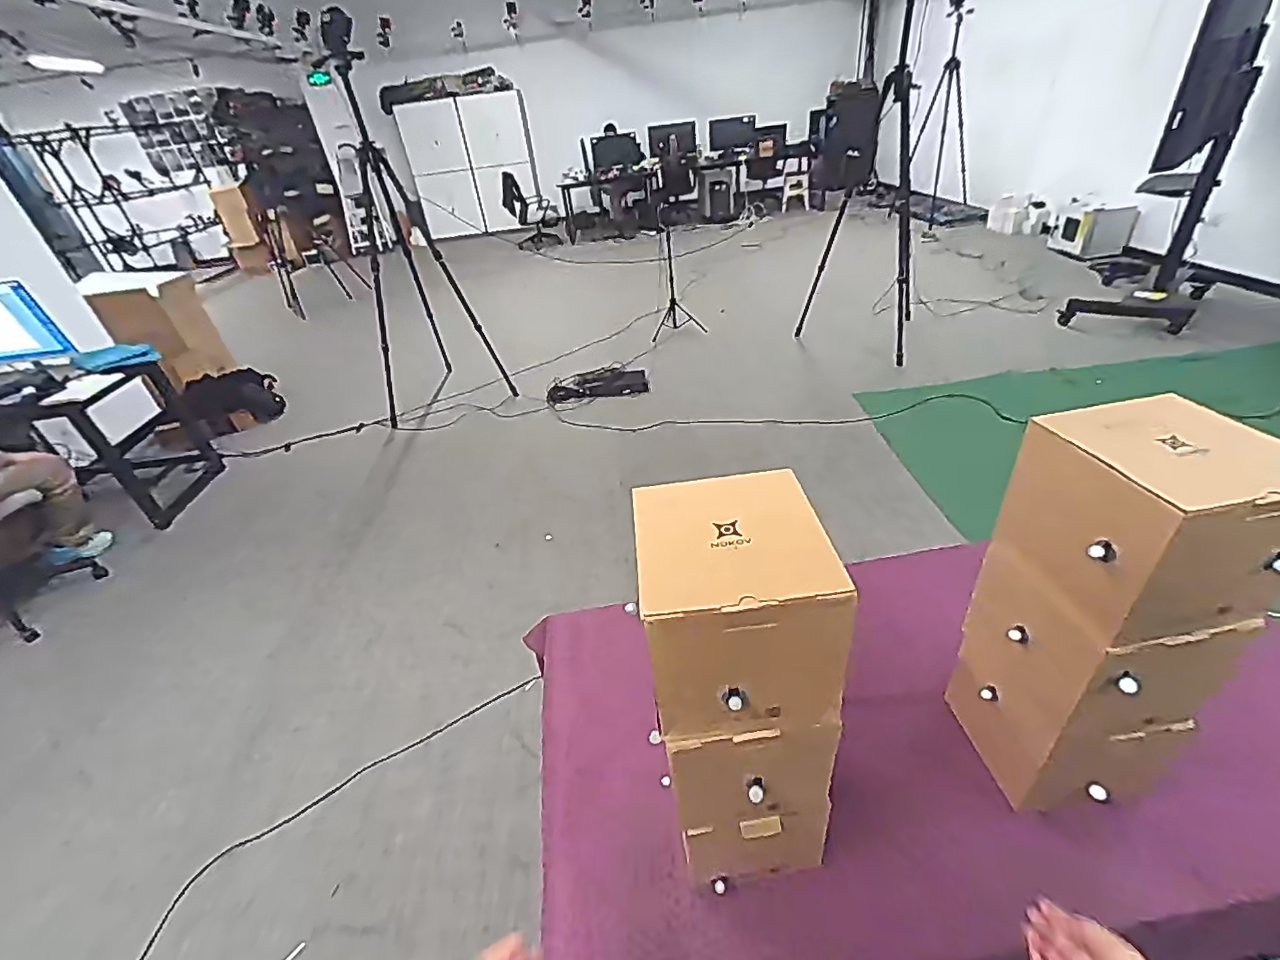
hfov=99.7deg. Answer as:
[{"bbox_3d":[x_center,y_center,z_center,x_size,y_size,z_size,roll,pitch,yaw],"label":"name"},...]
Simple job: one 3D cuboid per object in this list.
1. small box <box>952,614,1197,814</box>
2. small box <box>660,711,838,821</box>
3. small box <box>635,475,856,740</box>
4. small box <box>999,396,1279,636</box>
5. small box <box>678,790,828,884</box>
[{"bbox_3d":[0.553,0.310,0.725,0.168,0.176,0.179,-9,35,0],"label":"small box"},{"bbox_3d":[0.105,0.255,0.609,0.168,0.176,0.179,-8,35,-1],"label":"small box"},{"bbox_3d":[0.086,0.118,0.522,0.168,0.176,0.179,-7,35,1],"label":"small box"},{"bbox_3d":[0.512,0.038,0.547,0.168,0.176,0.179,-9,34,-3],"label":"small box"},{"bbox_3d":[0.128,0.389,0.701,0.168,0.176,0.179,-10,34,-3],"label":"small box"}]
